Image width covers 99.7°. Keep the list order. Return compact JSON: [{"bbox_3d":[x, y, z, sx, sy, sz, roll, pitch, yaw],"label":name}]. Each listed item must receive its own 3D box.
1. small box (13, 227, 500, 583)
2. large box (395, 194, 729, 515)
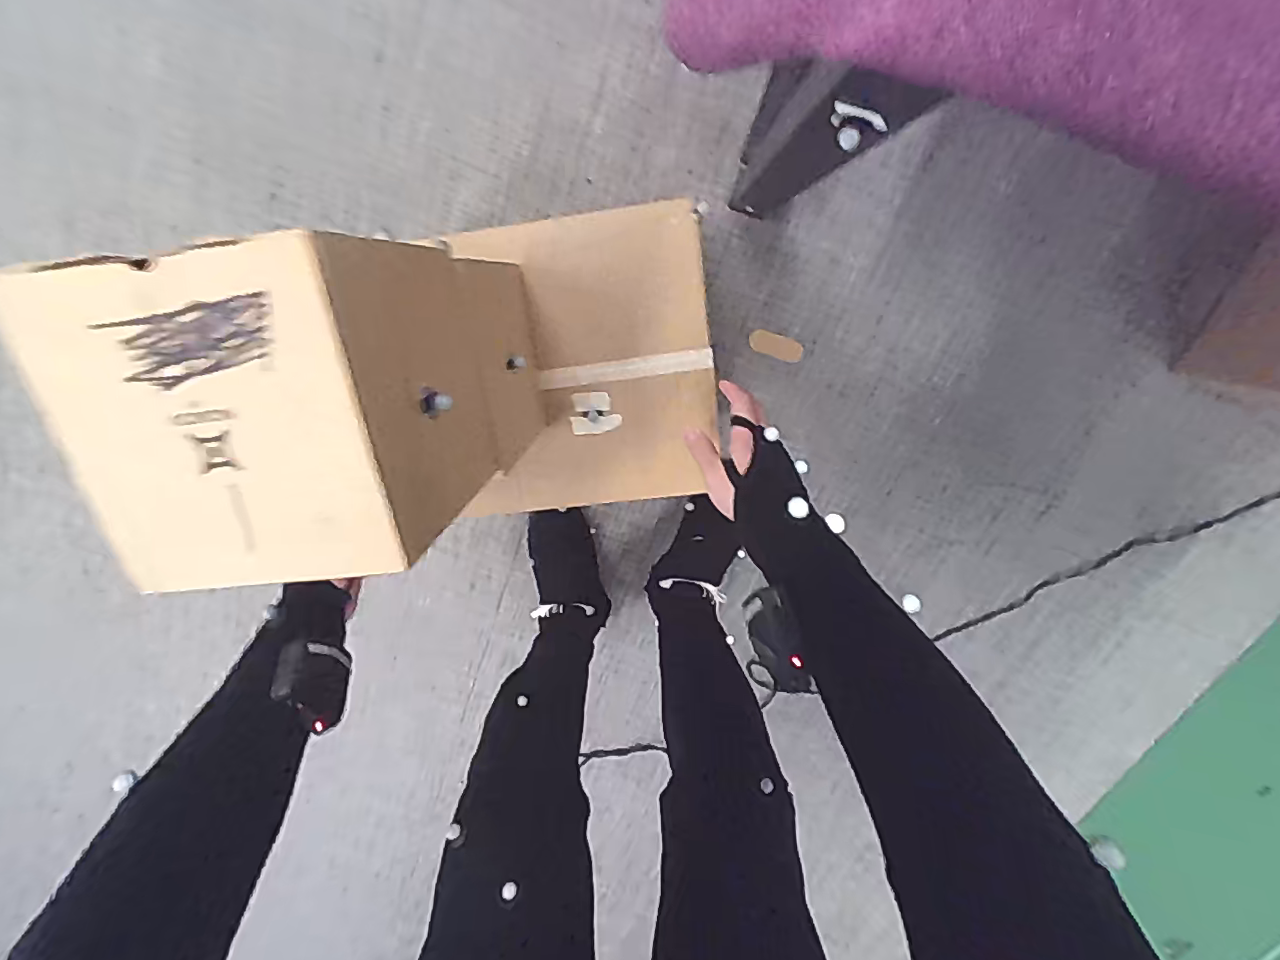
[{"bbox_3d":[-0.207,-0.055,0.356,0.168,0.176,0.179,-5,110,5],"label":"small box"},{"bbox_3d":[-0.108,-0.167,0.745,0.408,0.320,0.320,-7,110,5],"label":"large box"}]
